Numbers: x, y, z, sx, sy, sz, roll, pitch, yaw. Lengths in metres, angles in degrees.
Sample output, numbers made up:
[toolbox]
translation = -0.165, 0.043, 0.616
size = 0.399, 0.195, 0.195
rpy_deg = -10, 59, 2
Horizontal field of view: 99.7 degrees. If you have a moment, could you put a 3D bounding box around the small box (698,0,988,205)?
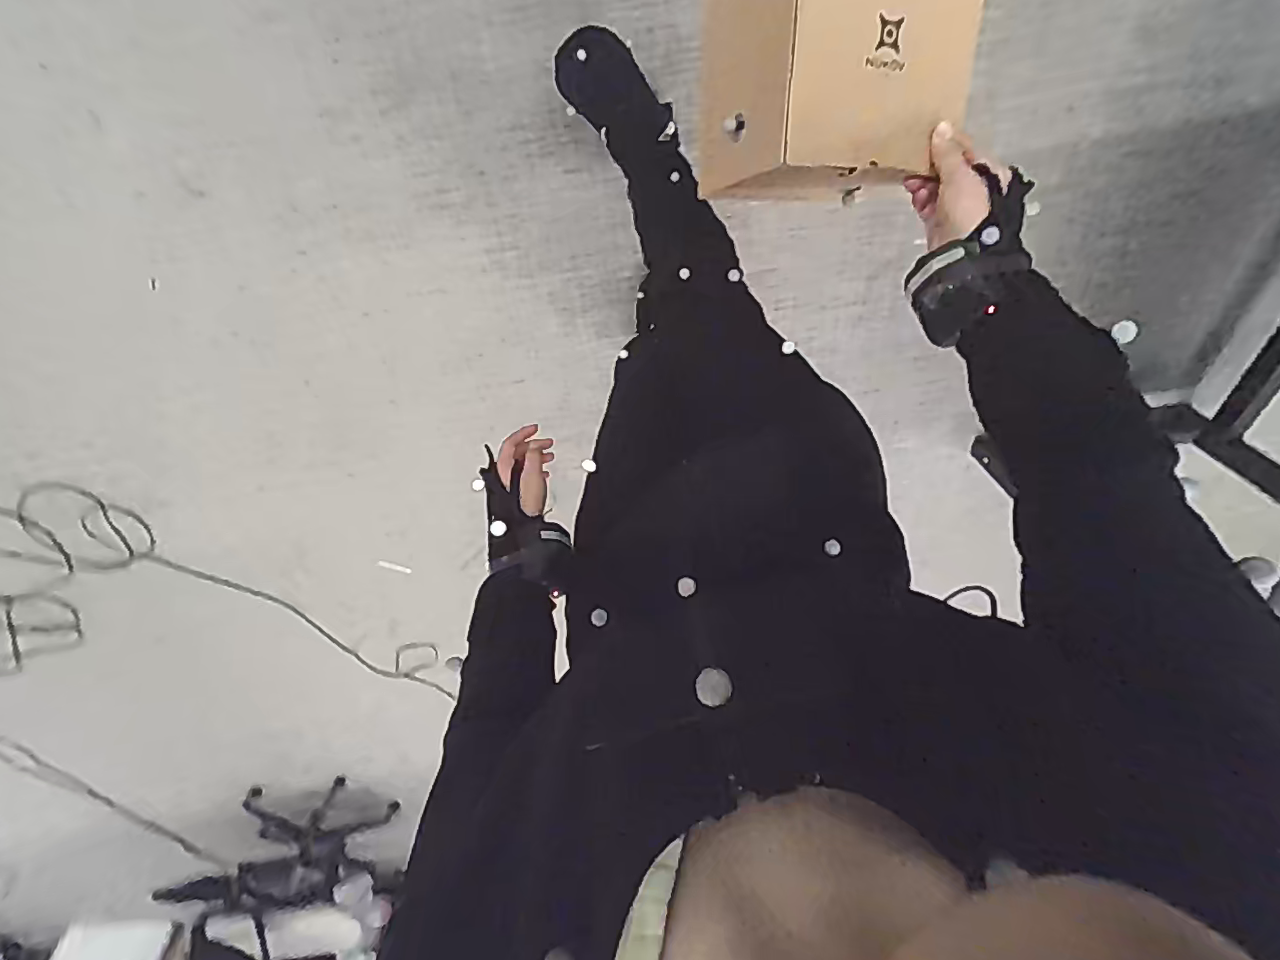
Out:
[small box]
translation = 0.159, -0.347, 0.472
size = 0.168, 0.176, 0.179
rpy_deg = -7, 111, -18
